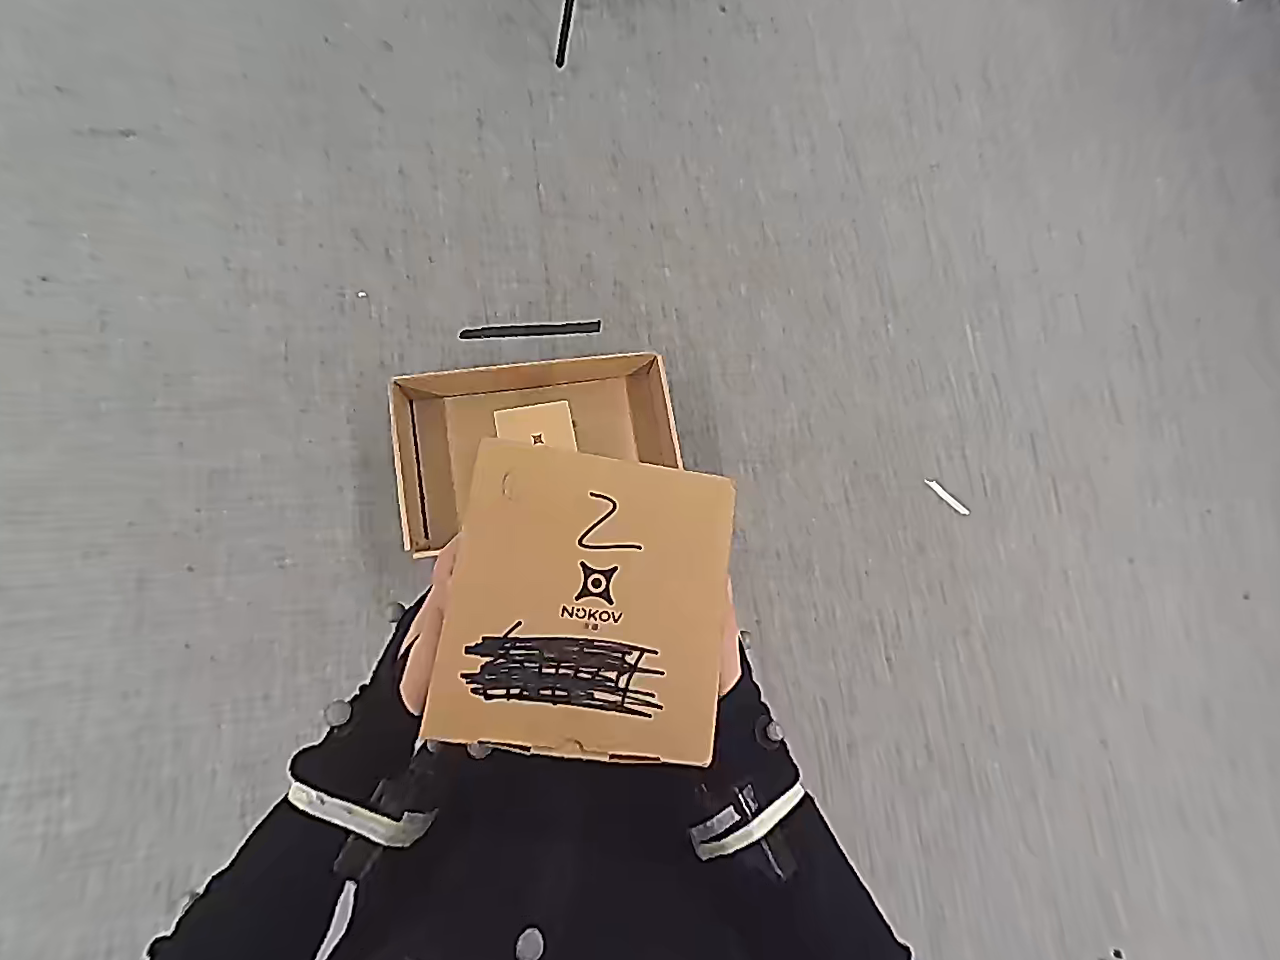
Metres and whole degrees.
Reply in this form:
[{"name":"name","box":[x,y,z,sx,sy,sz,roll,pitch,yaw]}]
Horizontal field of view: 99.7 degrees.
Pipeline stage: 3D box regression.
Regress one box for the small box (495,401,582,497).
[{"name":"small box","box":[-0.235,-0.067,1.252,0.168,0.176,0.179,-10,83,-11]}]
